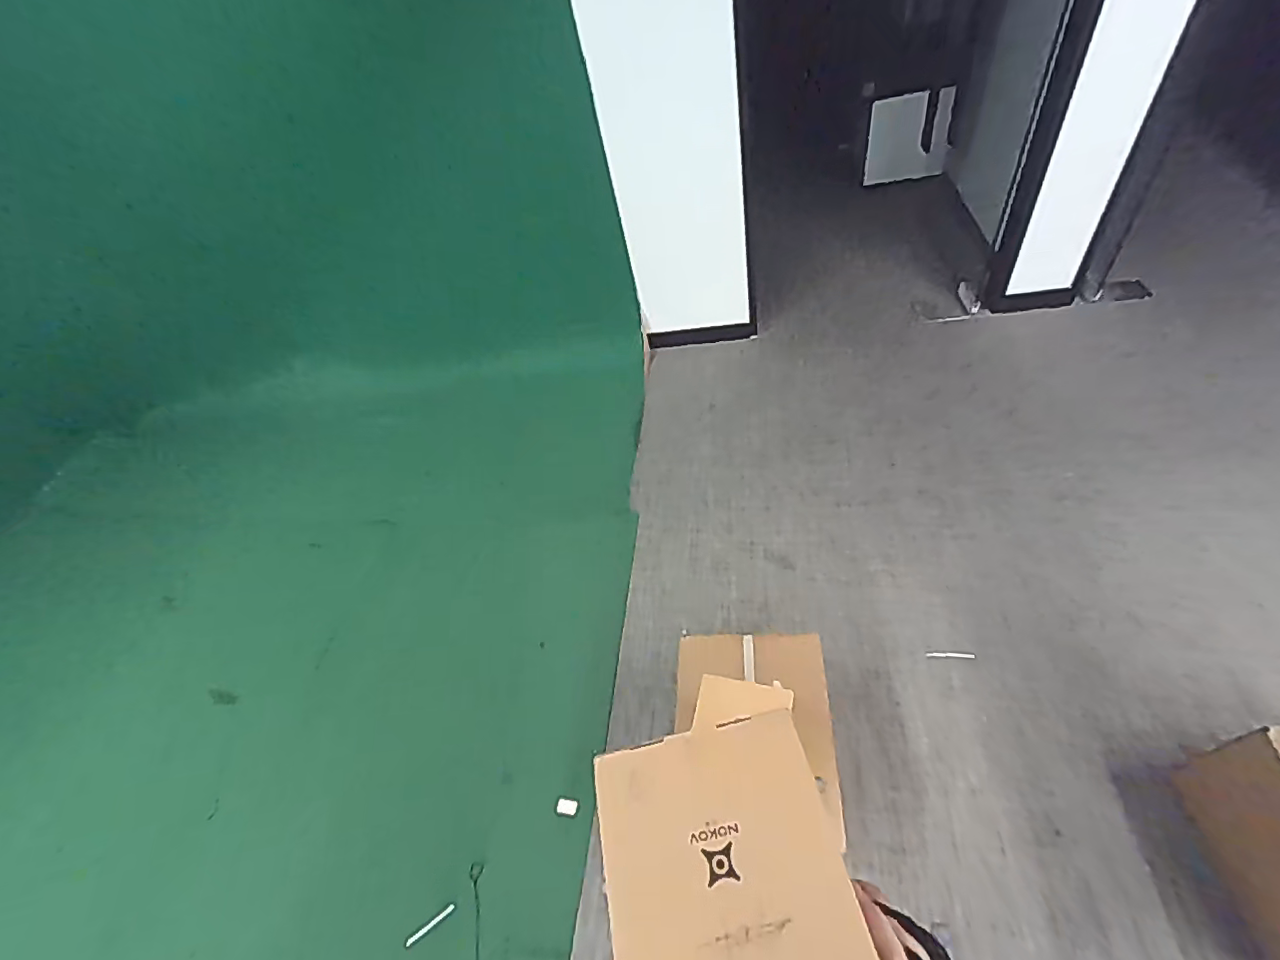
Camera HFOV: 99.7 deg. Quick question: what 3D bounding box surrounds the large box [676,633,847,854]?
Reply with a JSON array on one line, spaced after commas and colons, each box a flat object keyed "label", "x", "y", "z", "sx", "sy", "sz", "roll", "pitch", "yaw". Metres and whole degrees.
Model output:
[{"label": "large box", "x": 0.259, "y": 0.597, "z": 1.200, "sx": 0.320, "sy": 0.320, "sz": 0.408, "roll": -4, "pitch": 49, "yaw": 13}]

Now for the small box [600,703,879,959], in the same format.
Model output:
[{"label": "small box", "x": 0.073, "y": 0.316, "z": 0.445, "sx": 0.168, "sy": 0.176, "sz": 0.179, "roll": -16, "pitch": 47, "yaw": 2}]

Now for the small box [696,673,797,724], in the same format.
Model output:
[{"label": "small box", "x": 0.194, "y": 0.481, "z": 0.987, "sx": 0.168, "sy": 0.176, "sz": 0.179, "roll": 4, "pitch": 52, "yaw": 21}]
